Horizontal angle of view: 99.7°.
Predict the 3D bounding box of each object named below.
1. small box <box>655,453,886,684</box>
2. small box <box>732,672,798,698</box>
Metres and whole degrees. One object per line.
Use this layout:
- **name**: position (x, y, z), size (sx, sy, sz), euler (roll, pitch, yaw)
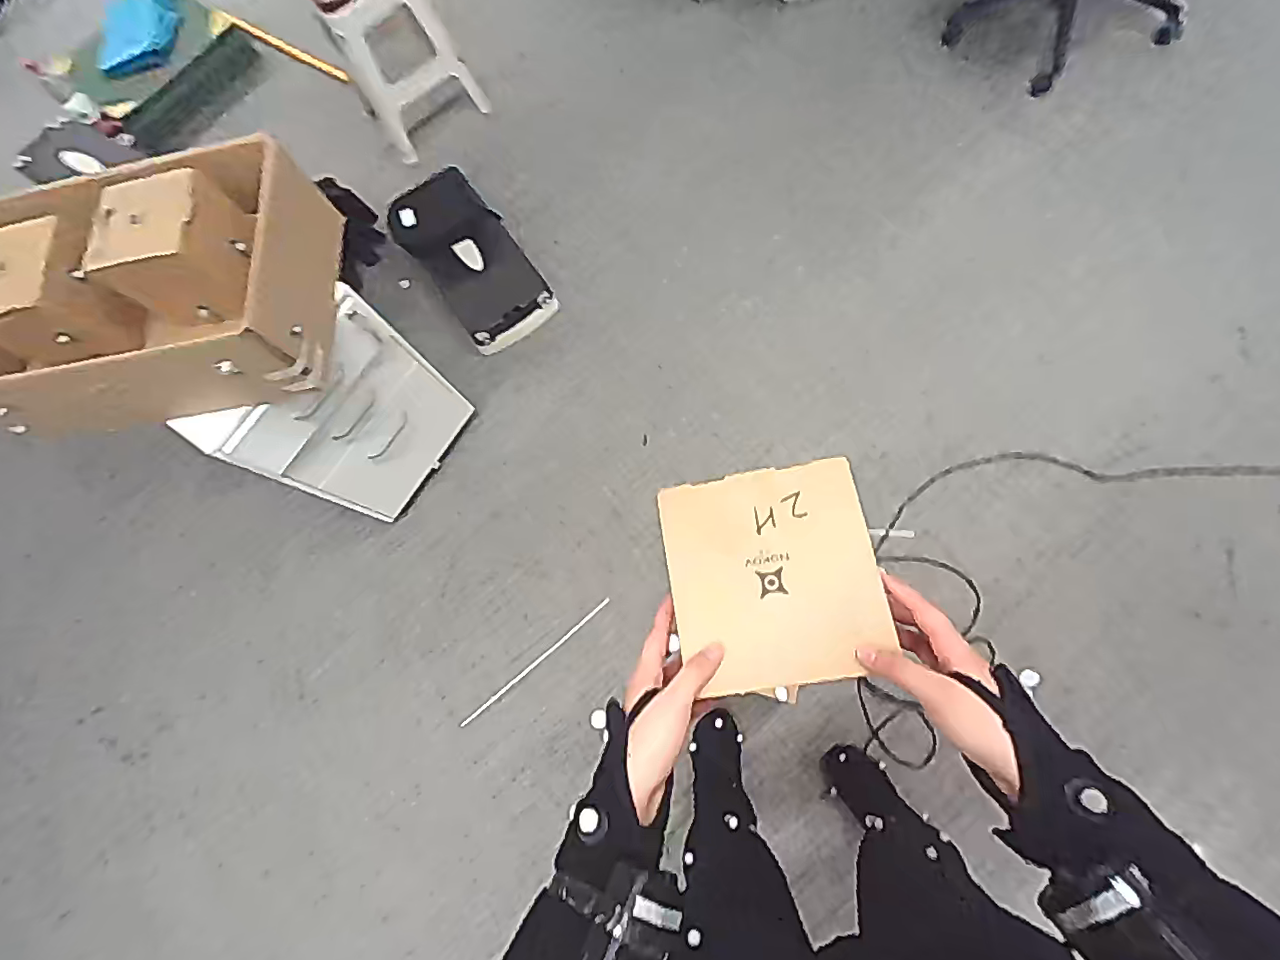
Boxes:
- **small box**: position (0.116, 0.093, 0.526), size (0.168, 0.176, 0.179), euler (-10, 71, 7)
- **small box**: position (0.272, 0.369, 1.211), size (0.168, 0.176, 0.179), euler (12, 75, 13)
